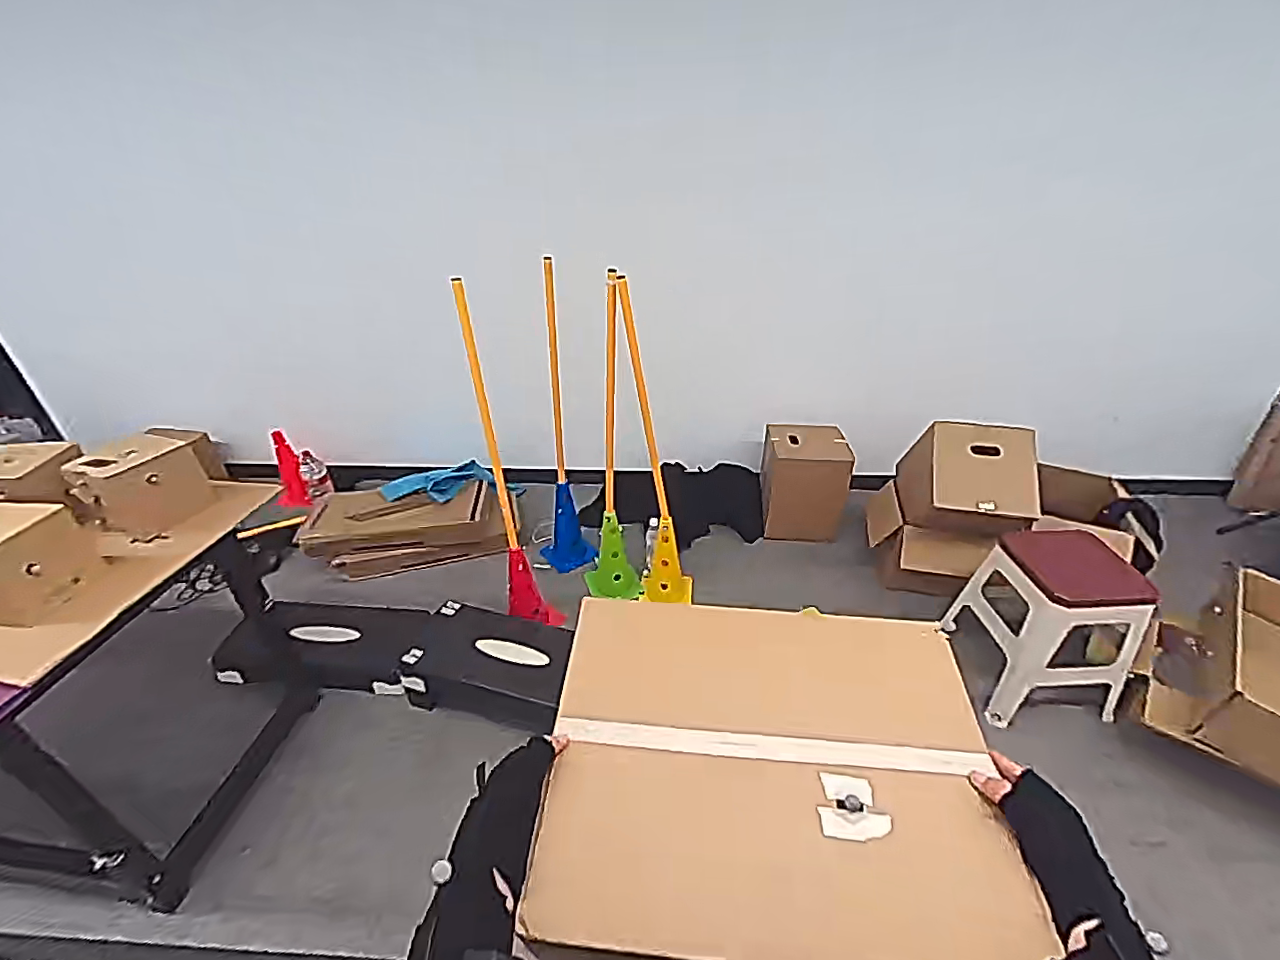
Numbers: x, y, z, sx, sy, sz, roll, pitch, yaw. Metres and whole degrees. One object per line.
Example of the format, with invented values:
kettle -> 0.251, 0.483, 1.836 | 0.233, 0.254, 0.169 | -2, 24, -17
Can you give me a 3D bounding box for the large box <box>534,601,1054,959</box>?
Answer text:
large box -> 0.126, 0.367, 0.619 | 0.408, 0.320, 0.320 | 4, 42, 5
